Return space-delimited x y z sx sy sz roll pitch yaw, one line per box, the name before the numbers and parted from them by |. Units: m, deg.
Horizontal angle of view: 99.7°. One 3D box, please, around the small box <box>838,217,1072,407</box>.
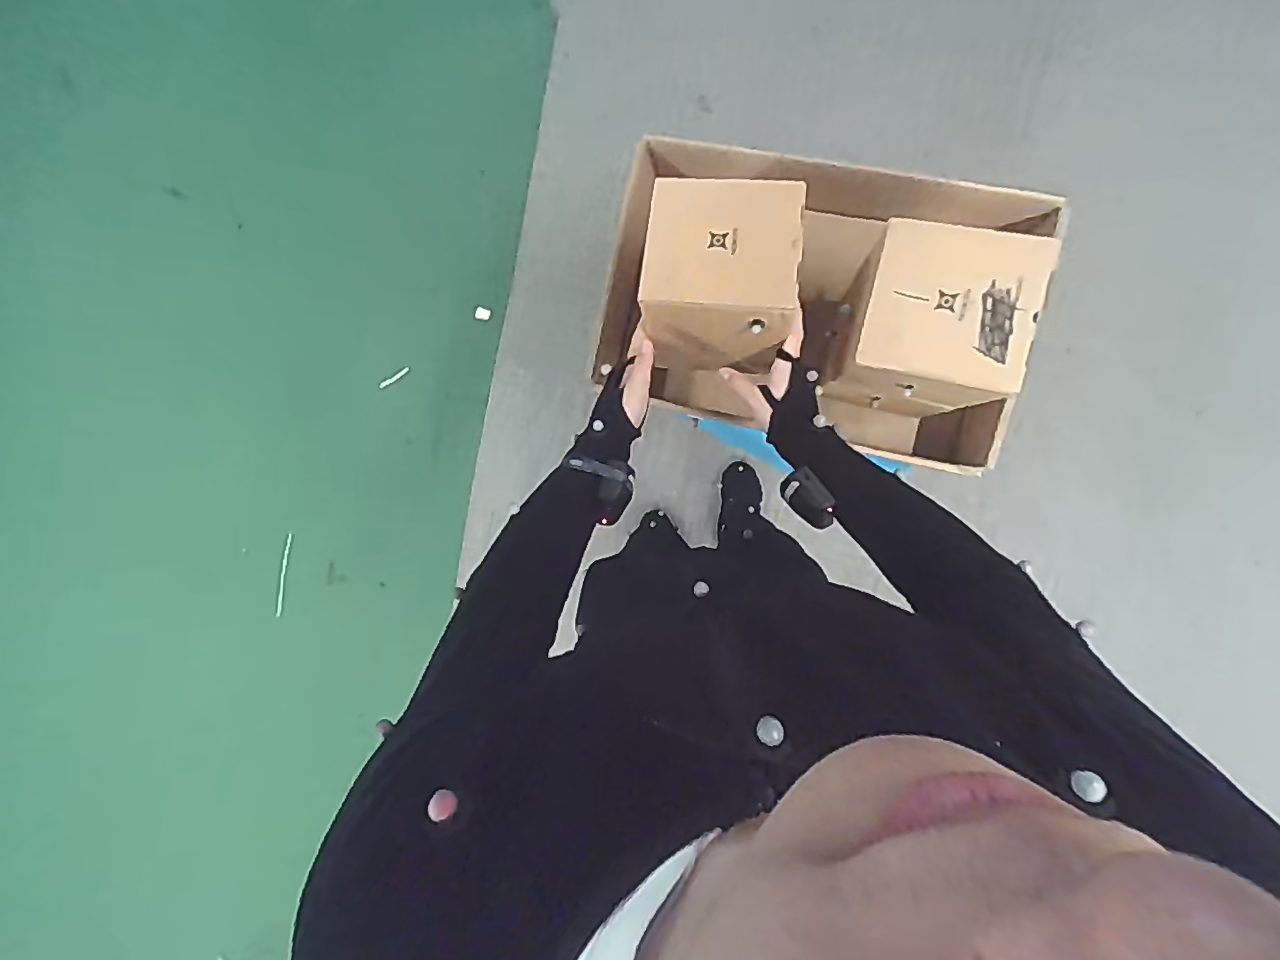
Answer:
small box | 0.357 -0.187 0.651 0.179 0.176 0.168 14 94 11
